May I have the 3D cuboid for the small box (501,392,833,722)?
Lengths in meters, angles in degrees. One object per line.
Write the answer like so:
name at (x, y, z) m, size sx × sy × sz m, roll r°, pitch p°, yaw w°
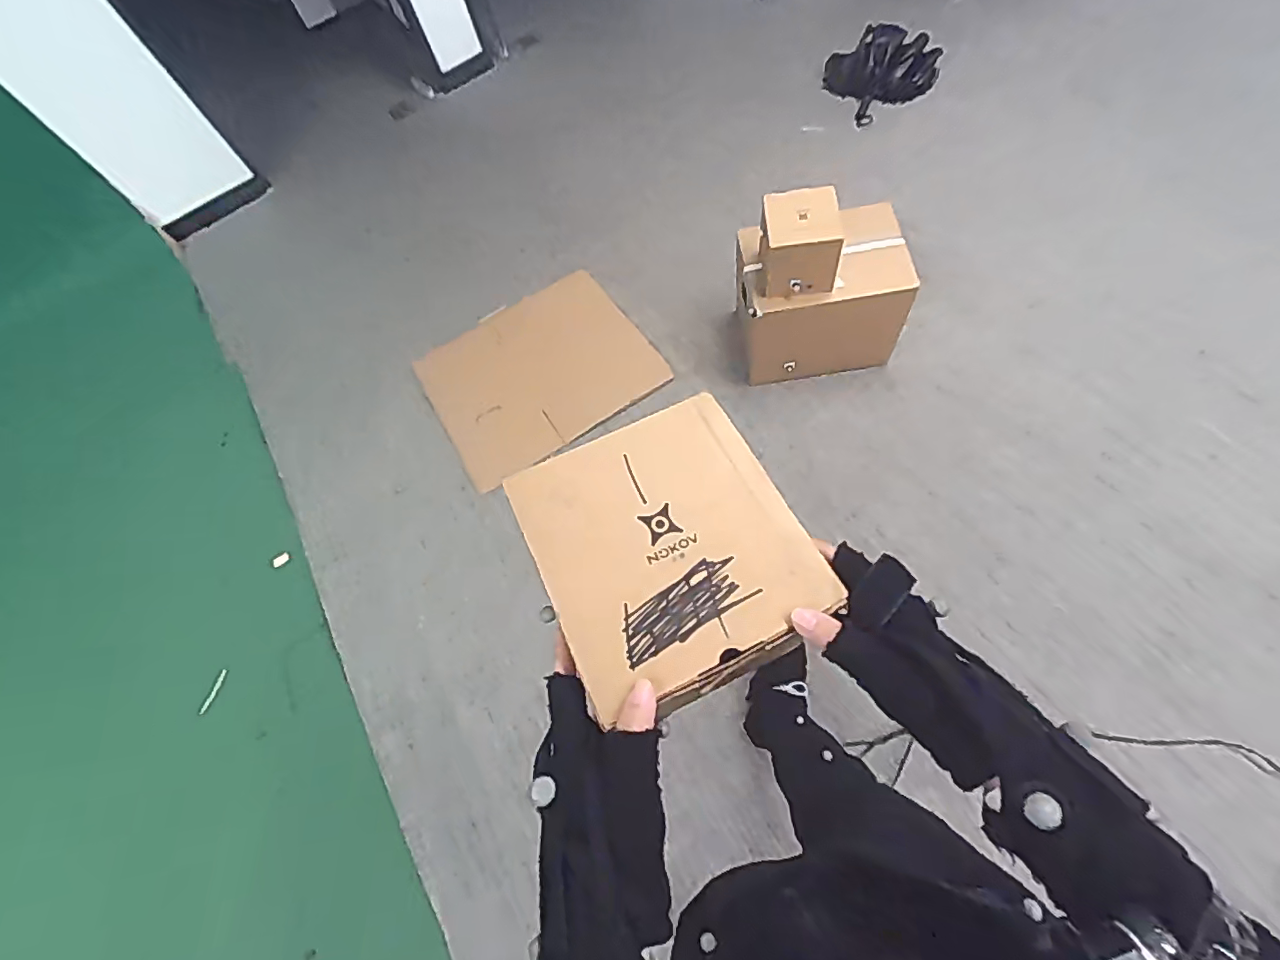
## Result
small box at (0.016, 0.070, 0.431) m, size 0.168 × 0.176 × 0.179 m, roll -27°, pitch 66°, yaw -10°

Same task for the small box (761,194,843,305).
small box at (0.388, -0.560, 1.325) m, size 0.168 × 0.176 × 0.179 m, roll -5°, pitch 66°, yaw 9°
